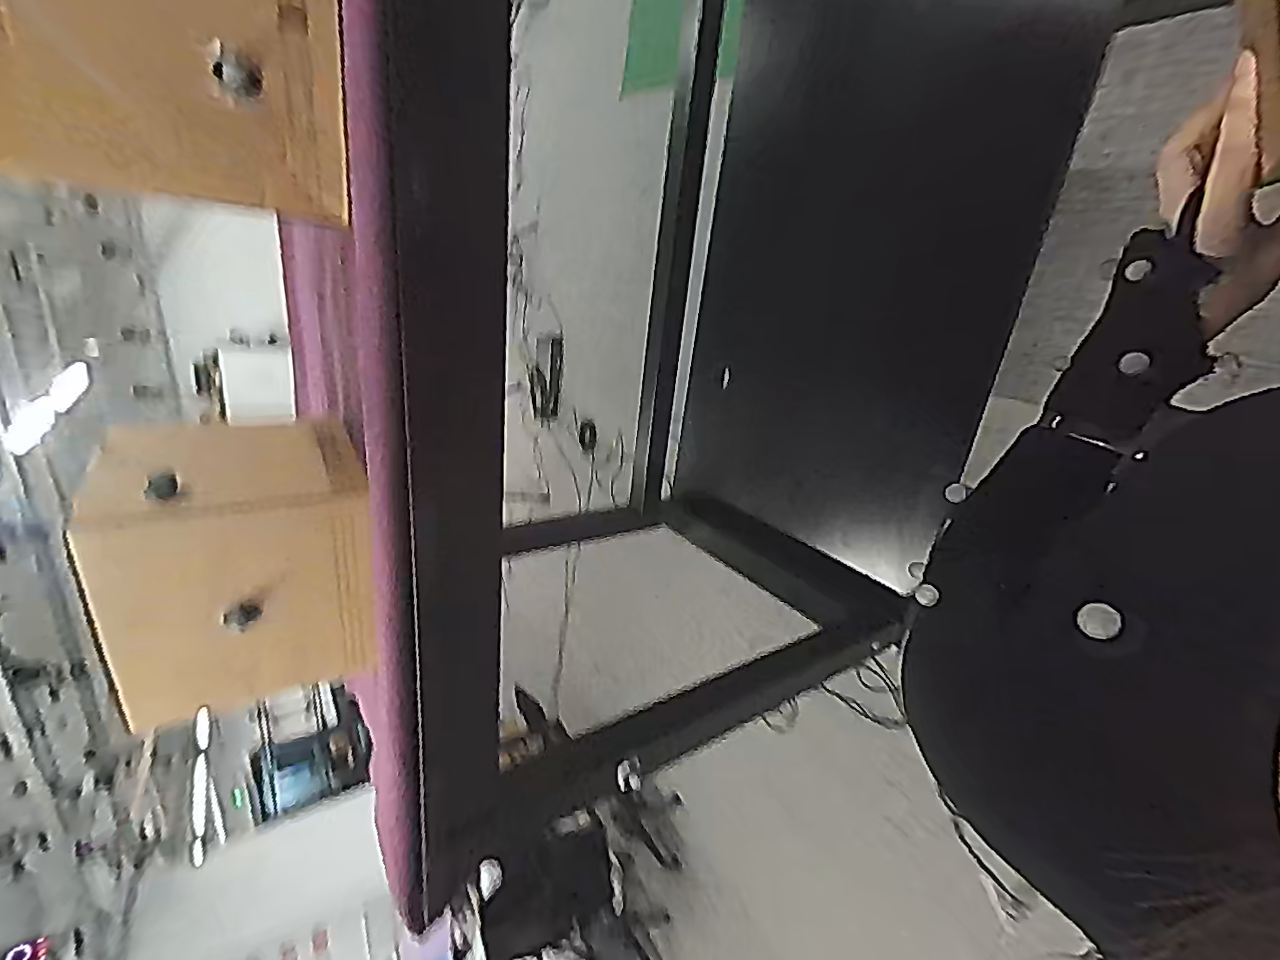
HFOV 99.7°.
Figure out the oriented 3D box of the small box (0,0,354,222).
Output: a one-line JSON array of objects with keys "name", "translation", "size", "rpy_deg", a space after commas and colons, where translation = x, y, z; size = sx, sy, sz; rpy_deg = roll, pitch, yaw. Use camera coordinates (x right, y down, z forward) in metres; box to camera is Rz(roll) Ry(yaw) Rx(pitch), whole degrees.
[{"name": "small box", "translation": [-0.288, -0.269, 0.346], "size": [0.179, 0.176, 0.168], "rpy_deg": [37, 126, 47]}]
